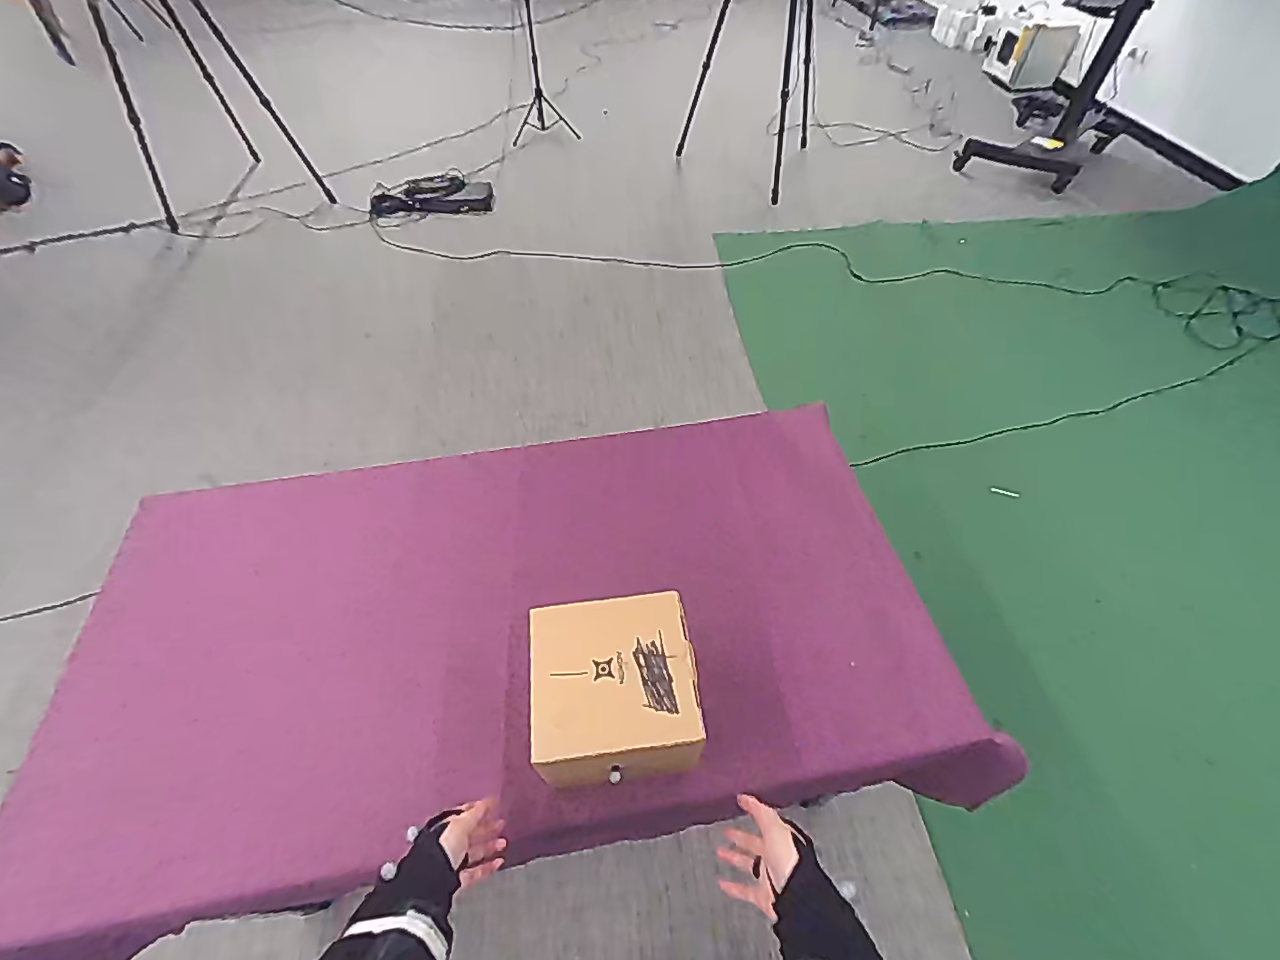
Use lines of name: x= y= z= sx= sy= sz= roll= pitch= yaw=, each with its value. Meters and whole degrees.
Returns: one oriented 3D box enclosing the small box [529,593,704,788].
small box: x=-0.031 y=0.253 z=0.642 sx=0.179 sy=0.176 sz=0.168 roll=-6 pitch=52 yaw=-4
